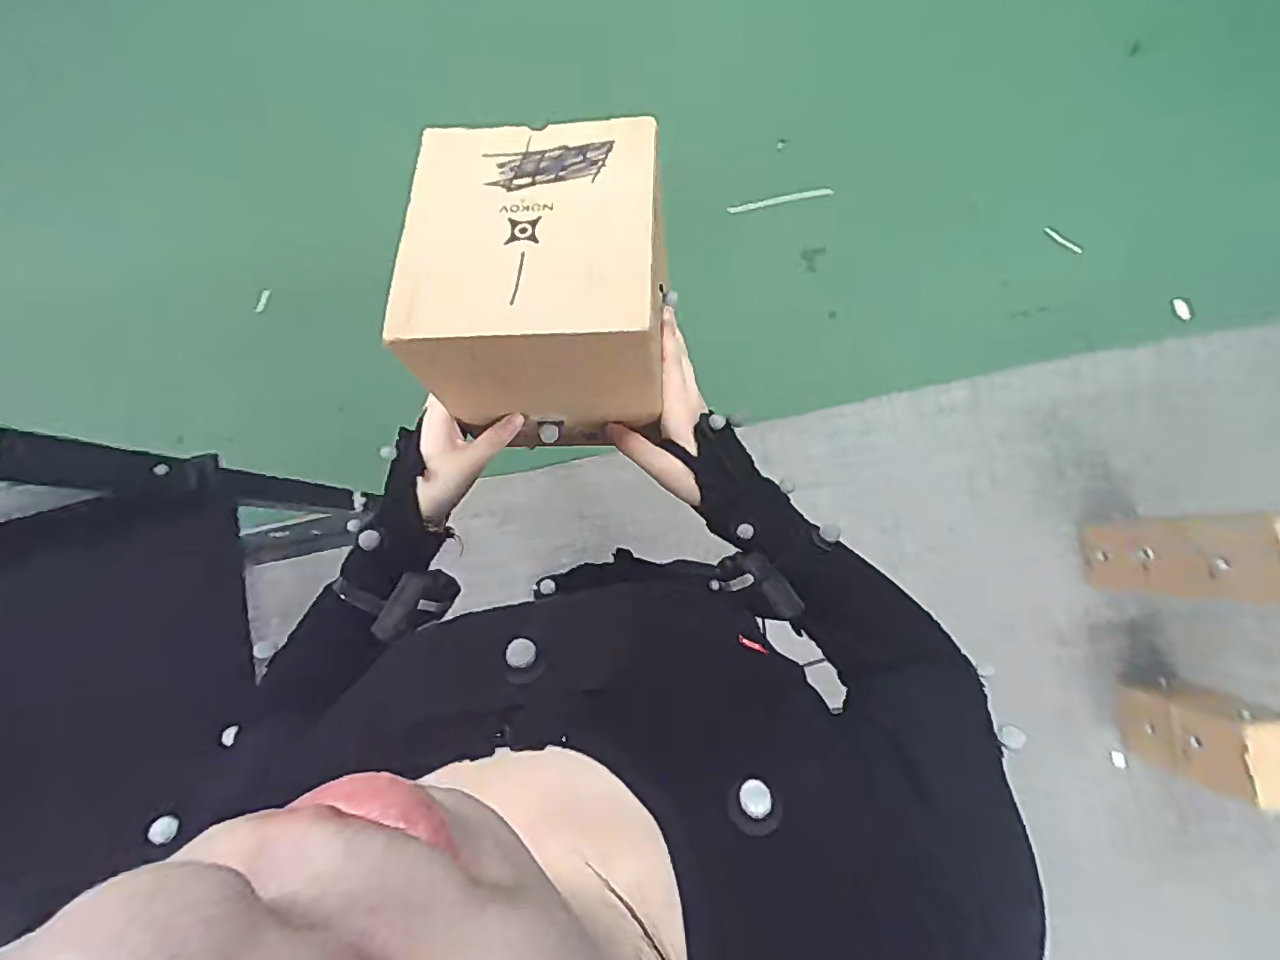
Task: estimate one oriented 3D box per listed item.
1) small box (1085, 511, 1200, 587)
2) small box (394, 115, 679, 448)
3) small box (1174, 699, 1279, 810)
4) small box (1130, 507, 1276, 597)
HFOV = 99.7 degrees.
[{"bbox_3d":[1.268,0.174,1.357,0.179,0.176,0.168,-7,83,3],"label":"small box"},{"bbox_3d":[-0.056,-0.138,0.417,0.168,0.176,0.179,0,70,6],"label":"small box"},{"bbox_3d":[1.304,0.570,1.143,0.179,0.176,0.168,-4,83,4],"label":"small box"},{"bbox_3d":[1.257,0.158,1.196,0.179,0.176,0.168,-11,81,3],"label":"small box"}]
